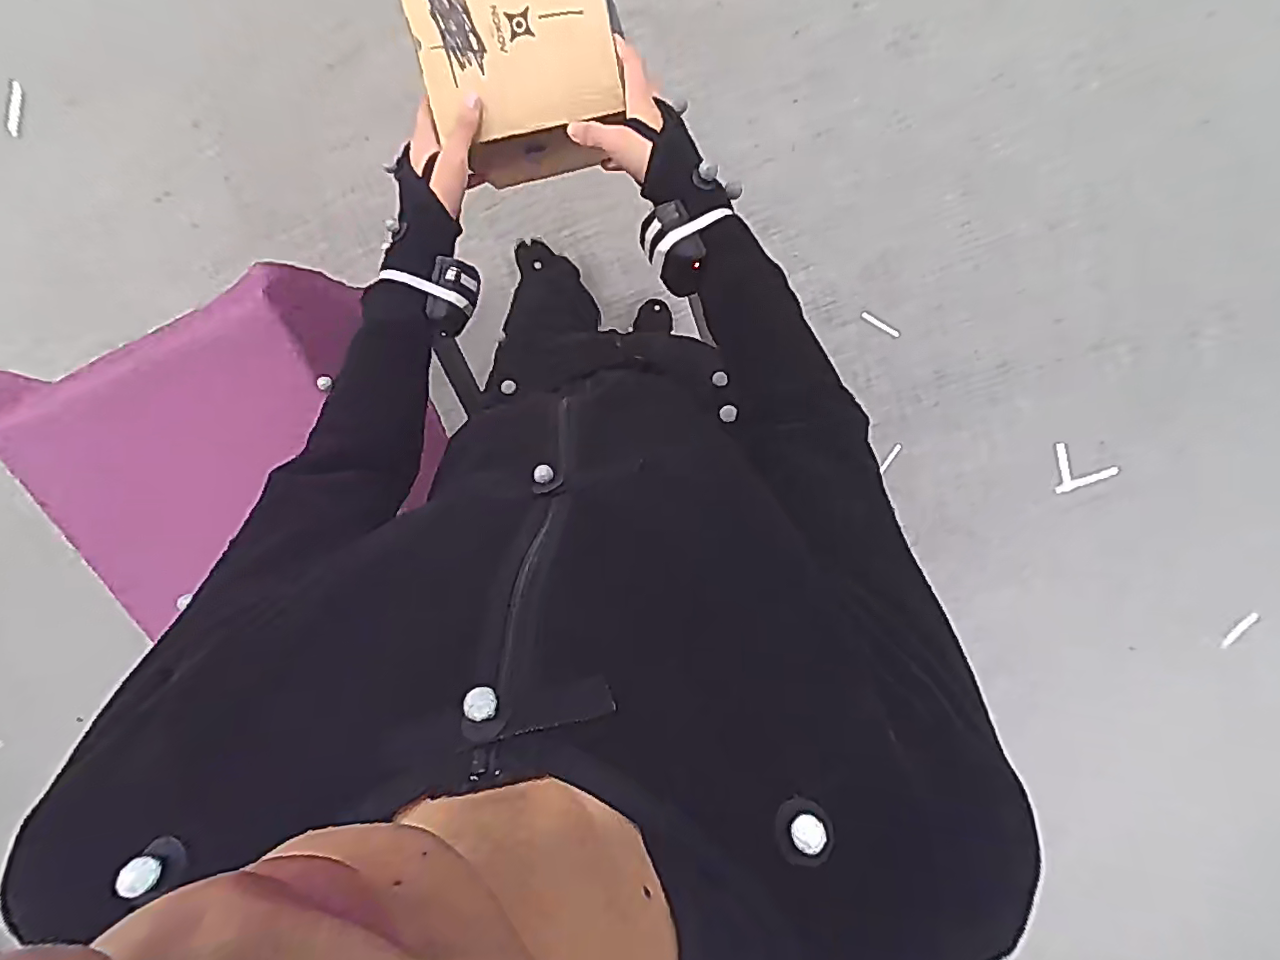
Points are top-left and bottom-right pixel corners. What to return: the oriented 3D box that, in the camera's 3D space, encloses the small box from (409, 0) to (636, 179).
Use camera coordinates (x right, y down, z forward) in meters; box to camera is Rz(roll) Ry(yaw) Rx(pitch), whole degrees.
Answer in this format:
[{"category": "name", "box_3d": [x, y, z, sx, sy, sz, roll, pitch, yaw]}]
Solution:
[{"category": "small box", "box_3d": [-0.106, -0.425, 0.547, 0.179, 0.176, 0.168, -10, 108, 5]}]
